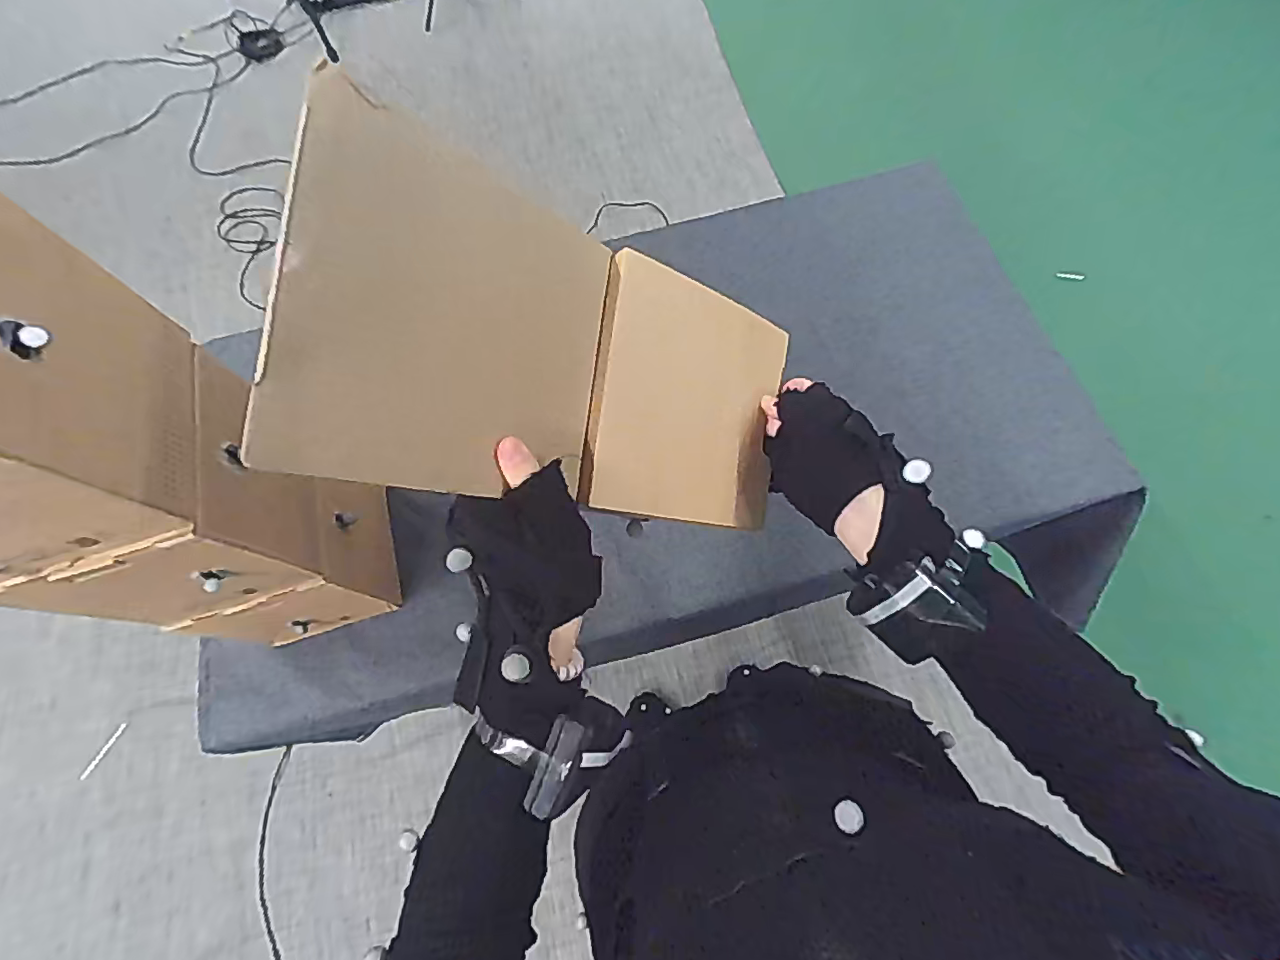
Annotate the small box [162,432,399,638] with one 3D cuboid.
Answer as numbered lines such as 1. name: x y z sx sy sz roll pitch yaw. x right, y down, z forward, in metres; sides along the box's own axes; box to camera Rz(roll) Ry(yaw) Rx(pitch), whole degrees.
1. small box: -0.409 0.073 0.638 0.168 0.176 0.179 -17 70 -3

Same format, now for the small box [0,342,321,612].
1. small box: -0.415 0.012 0.487 0.168 0.176 0.179 -16 69 -4

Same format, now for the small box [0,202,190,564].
1. small box: -0.425 -0.054 0.336 0.168 0.176 0.179 -17 69 -5
